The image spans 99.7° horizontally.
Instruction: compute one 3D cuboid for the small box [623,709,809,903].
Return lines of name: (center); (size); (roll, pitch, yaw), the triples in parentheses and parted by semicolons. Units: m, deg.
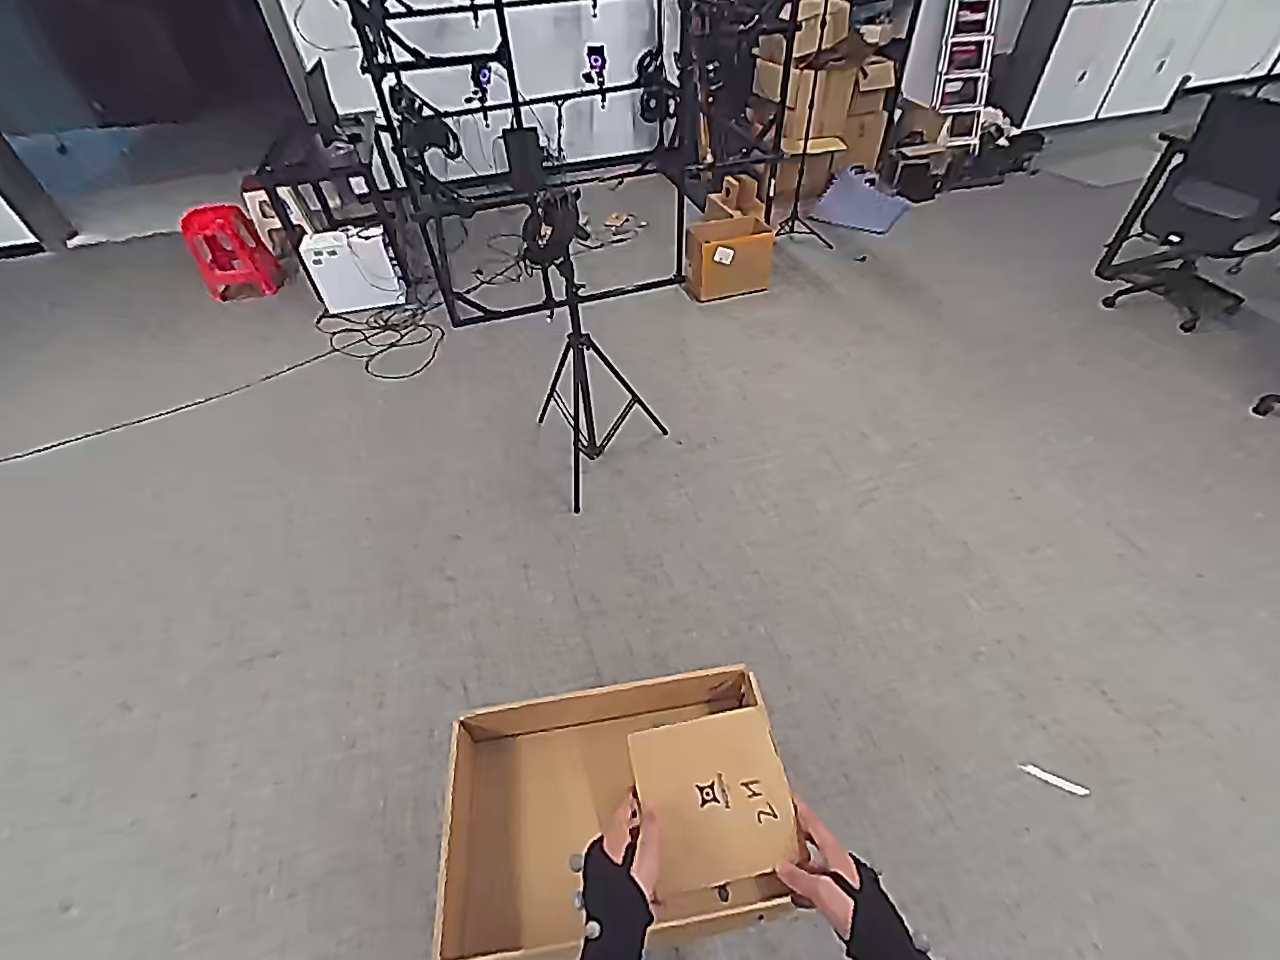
small box: (0.078, 0.405, 0.669); (0.179, 0.176, 0.168); (-8, 54, -9)
